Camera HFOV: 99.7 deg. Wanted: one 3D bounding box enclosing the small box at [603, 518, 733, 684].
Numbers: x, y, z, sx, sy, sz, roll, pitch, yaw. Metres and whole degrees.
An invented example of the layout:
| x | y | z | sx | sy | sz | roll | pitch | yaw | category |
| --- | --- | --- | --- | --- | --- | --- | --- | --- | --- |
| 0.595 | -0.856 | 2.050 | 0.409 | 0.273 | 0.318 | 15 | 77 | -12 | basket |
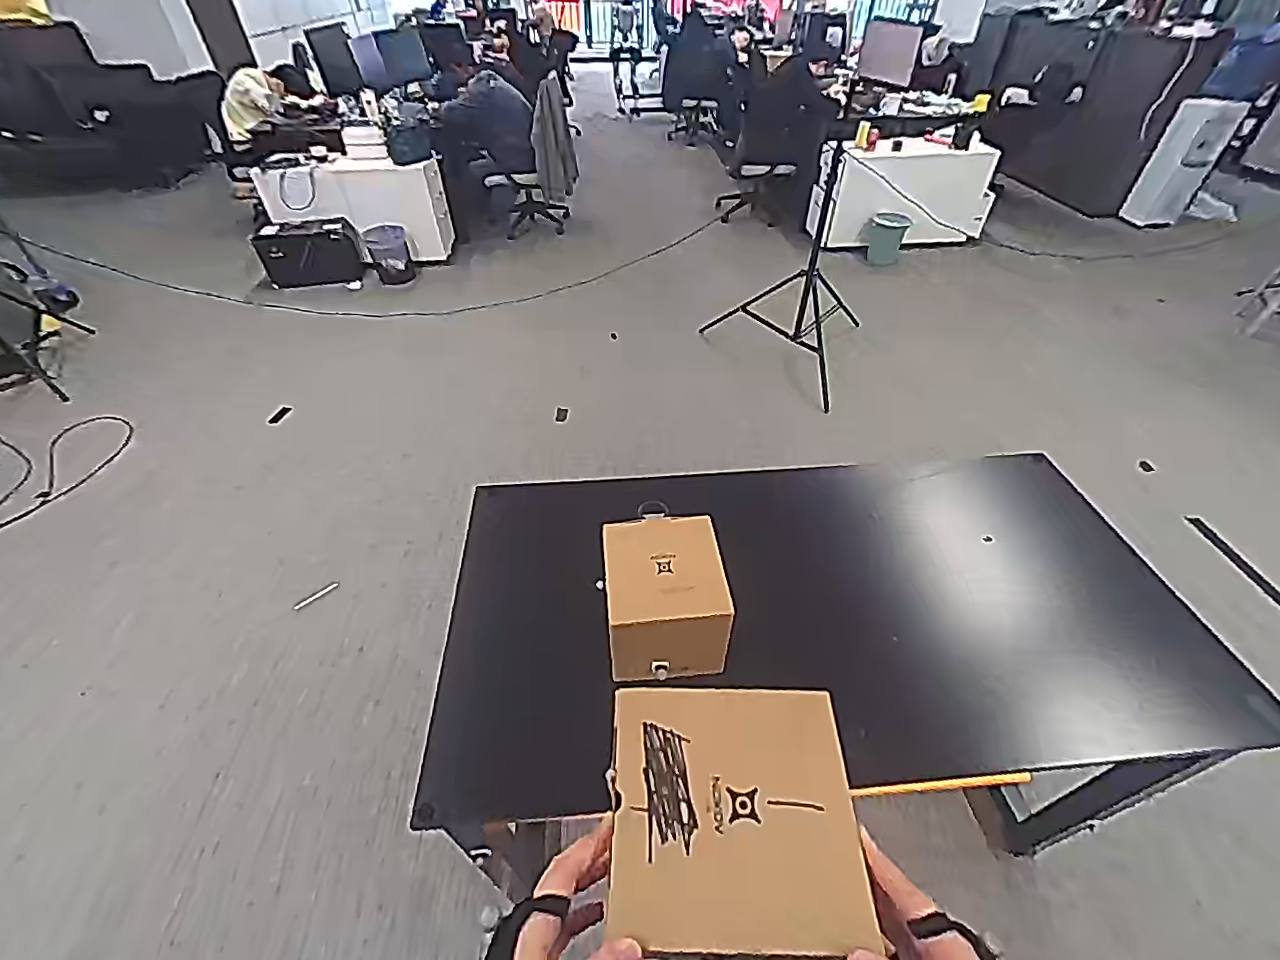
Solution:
| x | y | z | sx | sy | sz | roll | pitch | yaw | category |
| --- | --- | --- | --- | --- | --- | --- | --- | --- | --- |
| 0.033 | 0.181 | 0.814 | 0.168 | 0.176 | 0.179 | -6 | 45 | -3 | small box |

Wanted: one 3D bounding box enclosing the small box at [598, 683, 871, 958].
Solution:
| x | y | z | sx | sy | sz | roll | pitch | yaw | category |
| --- | --- | --- | --- | --- | --- | --- | --- | --- | --- |
| 0.064 | 0.285 | 0.453 | 0.179 | 0.176 | 0.168 | 1 | 47 | 2 | small box |
